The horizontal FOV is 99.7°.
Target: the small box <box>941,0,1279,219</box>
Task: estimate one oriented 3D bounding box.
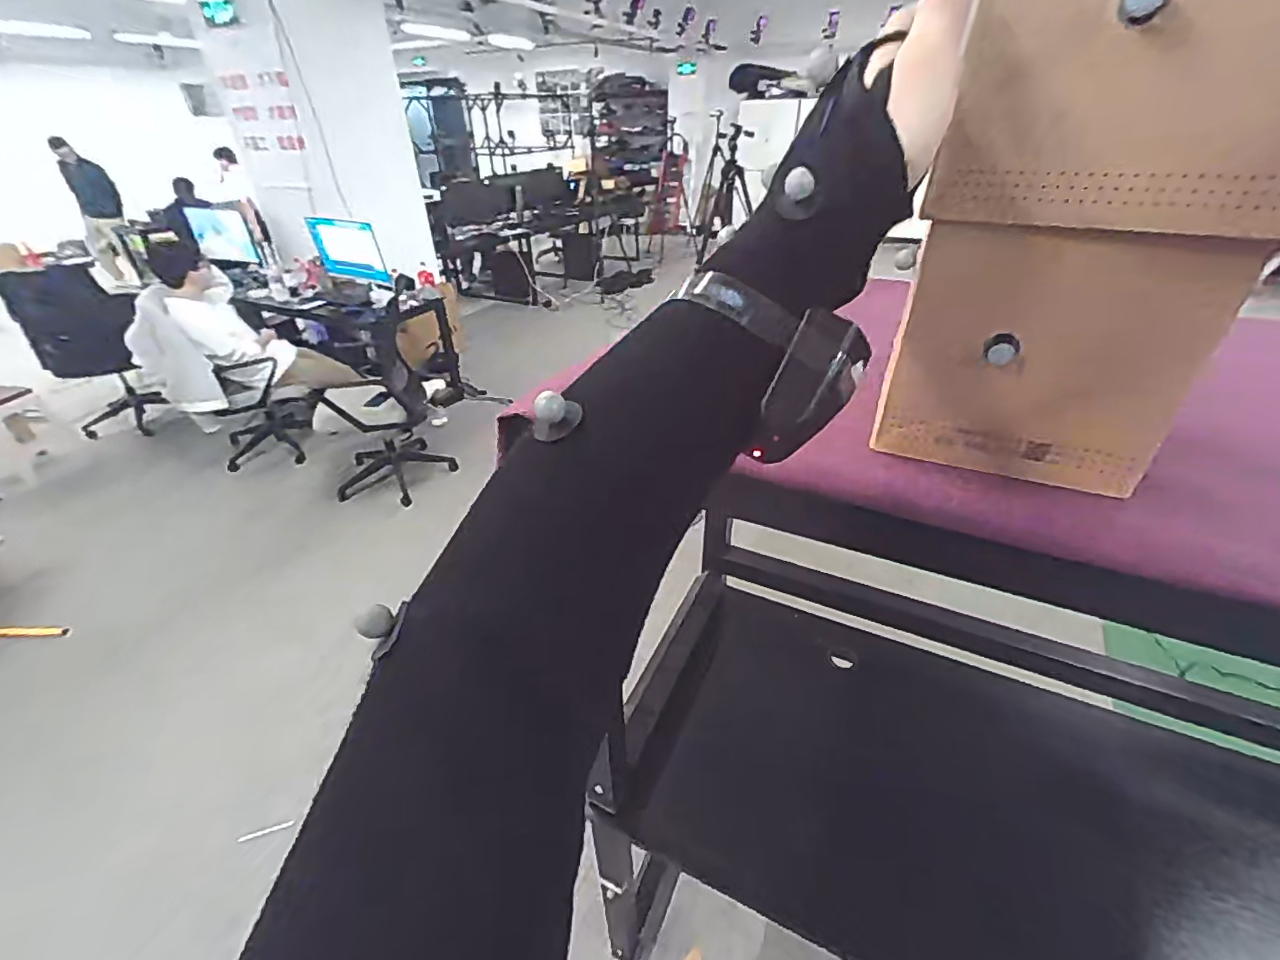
[{"bbox_3d":[0.281,-0.240,0.284,0.179,0.176,0.168,19,38,25],"label":"small box"}]

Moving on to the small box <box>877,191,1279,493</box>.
[{"bbox_3d":[0.281,-0.113,0.388,0.168,0.176,0.179,16,36,21],"label":"small box"}]
